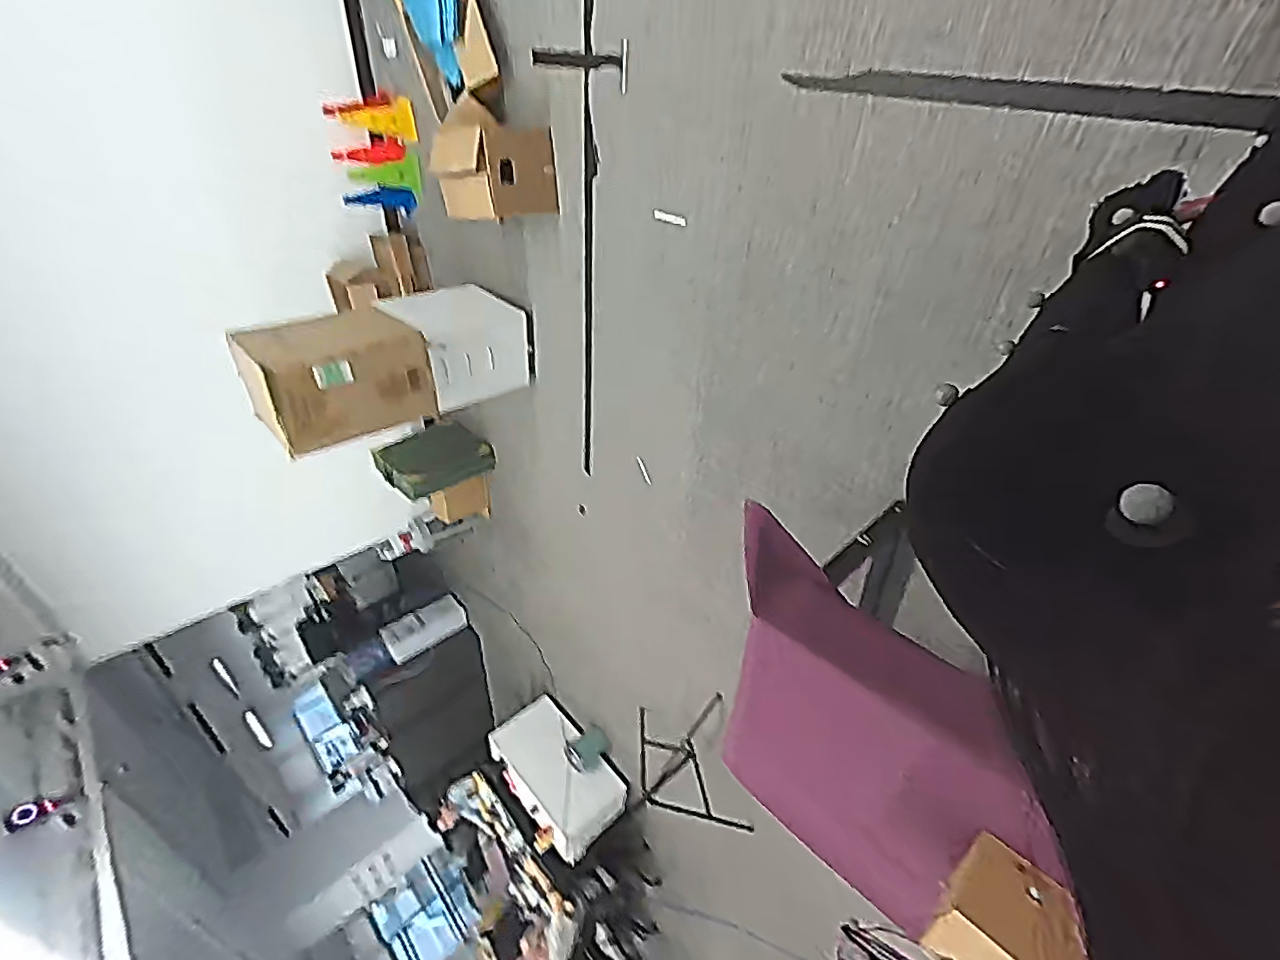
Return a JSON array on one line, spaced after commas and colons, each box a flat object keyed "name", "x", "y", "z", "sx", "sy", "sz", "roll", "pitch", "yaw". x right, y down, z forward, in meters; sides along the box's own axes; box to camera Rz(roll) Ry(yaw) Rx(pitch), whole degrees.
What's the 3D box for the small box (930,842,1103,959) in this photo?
[{"name": "small box", "x": 0.620, "y": 0.757, "z": 0.893, "sx": 0.168, "sy": 0.176, "sz": 0.179, "roll": 31, "pitch": 132, "yaw": 38}]
